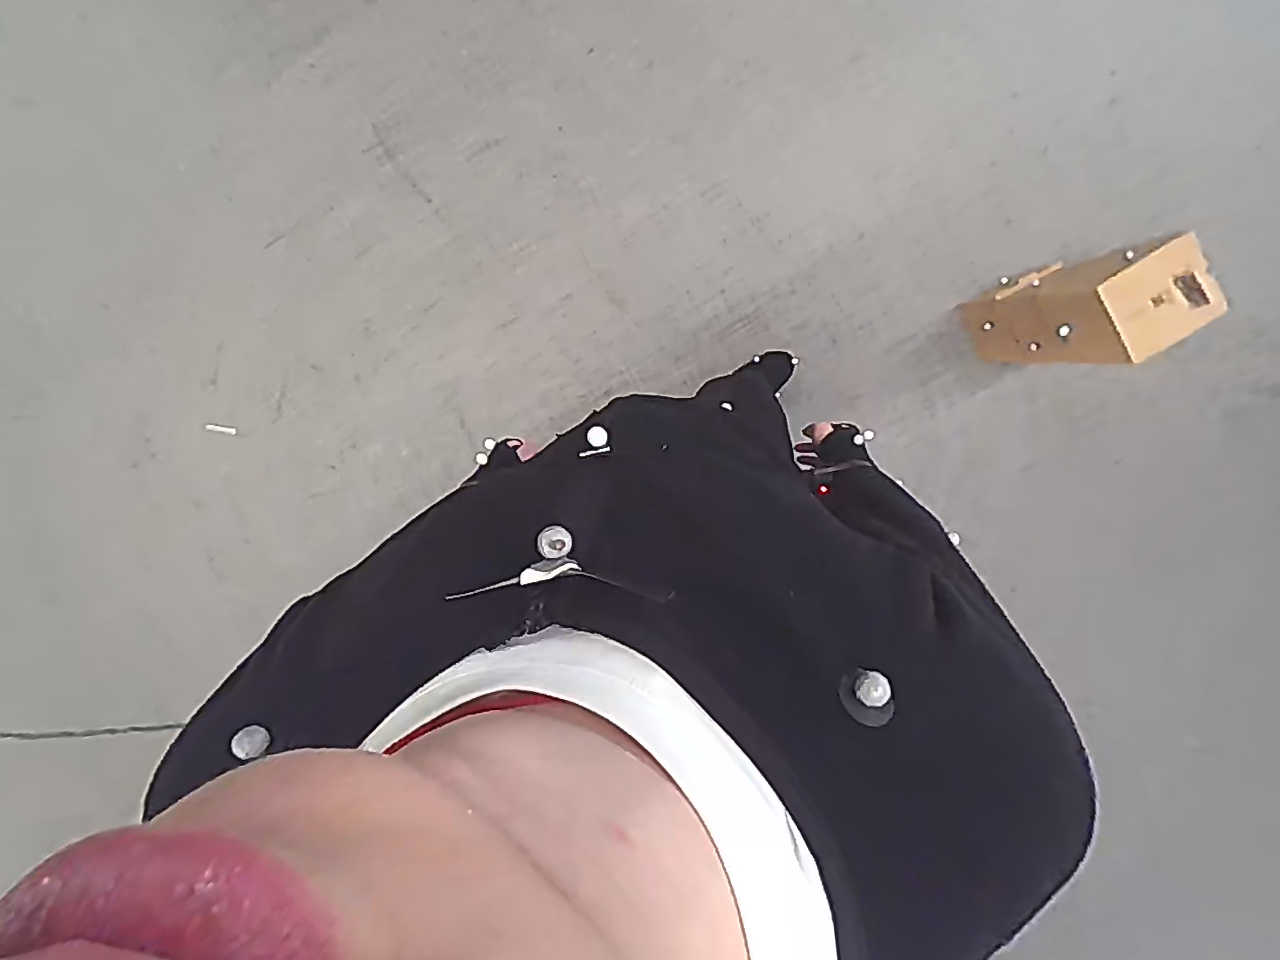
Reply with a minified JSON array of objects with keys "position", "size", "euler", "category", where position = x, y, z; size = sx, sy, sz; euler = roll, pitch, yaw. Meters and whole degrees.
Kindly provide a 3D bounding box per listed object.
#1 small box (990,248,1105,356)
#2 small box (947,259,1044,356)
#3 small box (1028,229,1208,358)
[{"position":[0.933,-0.391,1.222],"size":[0.179,0.176,0.168],"euler":[-30,101,5],"category":"small box"},{"position":[0.939,-0.435,1.398],"size":[0.168,0.176,0.179],"euler":[-31,100,6],"category":"small box"},{"position":[0.922,-0.354,1.059],"size":[0.179,0.176,0.168],"euler":[-31,99,7],"category":"small box"}]
